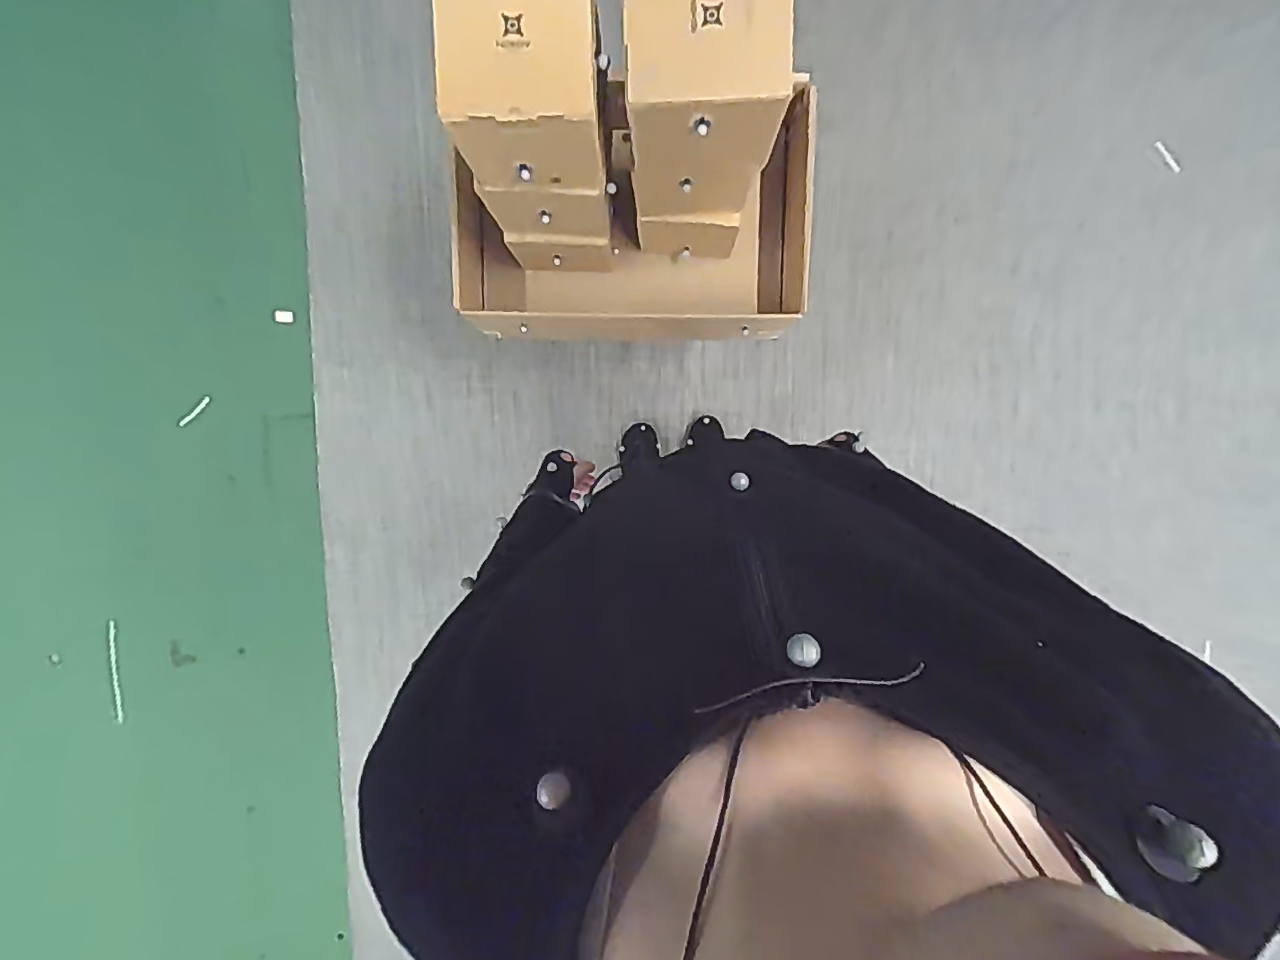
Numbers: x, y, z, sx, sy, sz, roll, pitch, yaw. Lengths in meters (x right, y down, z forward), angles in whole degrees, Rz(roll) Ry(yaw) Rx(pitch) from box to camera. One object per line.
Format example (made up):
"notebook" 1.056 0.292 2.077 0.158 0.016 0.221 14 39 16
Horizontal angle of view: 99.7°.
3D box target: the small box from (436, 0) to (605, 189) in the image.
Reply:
"small box" -0.130 -0.474 0.641 0.168 0.176 0.179 -1 95 1
